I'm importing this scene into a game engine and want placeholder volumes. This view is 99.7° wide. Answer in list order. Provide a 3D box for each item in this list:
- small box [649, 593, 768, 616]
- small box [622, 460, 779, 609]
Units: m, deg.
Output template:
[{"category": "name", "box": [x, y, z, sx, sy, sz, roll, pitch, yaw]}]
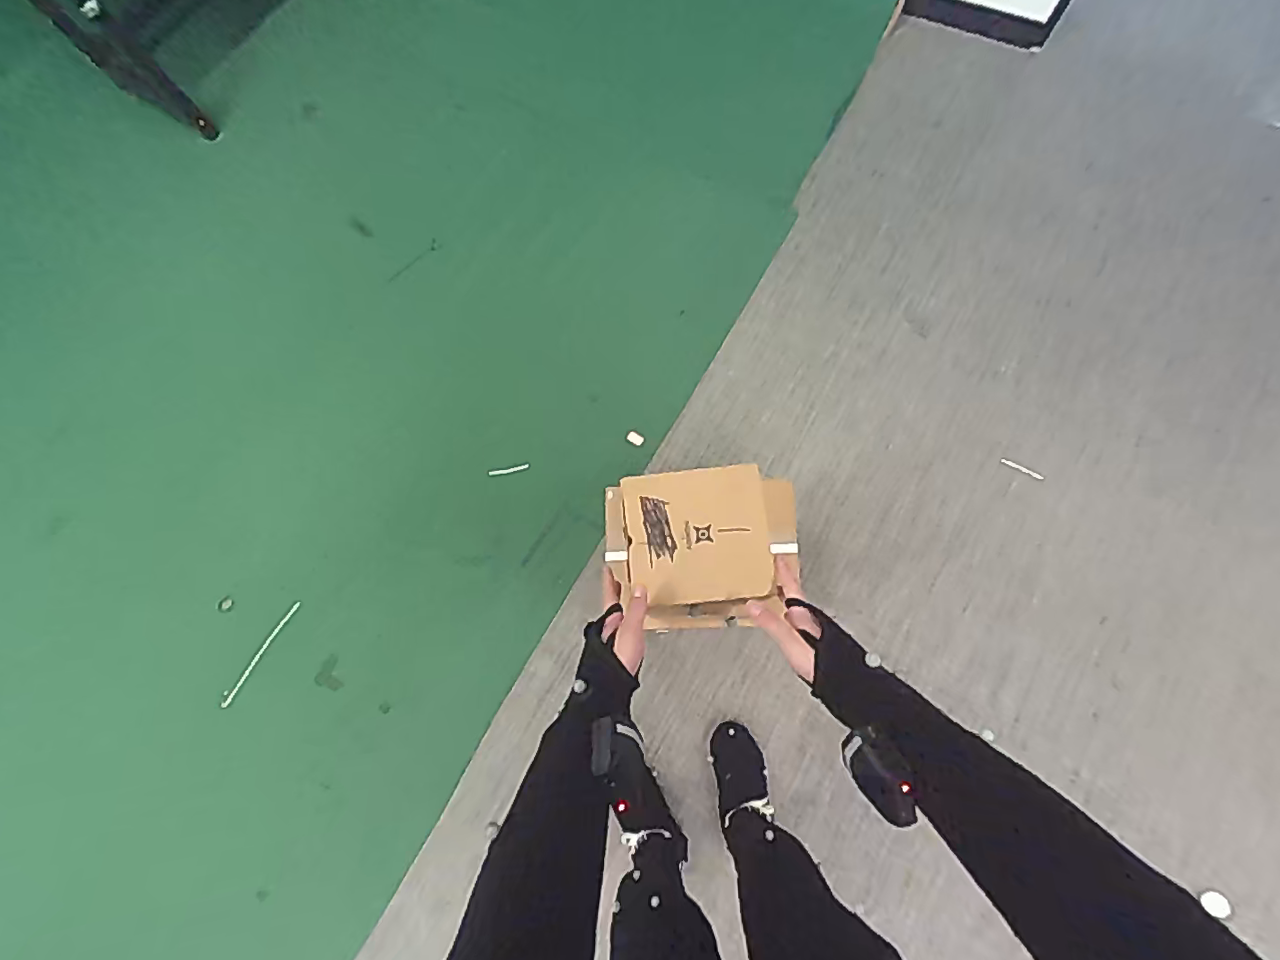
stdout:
[{"category": "small box", "box": [0.105, 0.133, 0.881, 0.179, 0.176, 0.168, 0, 74, 5]}, {"category": "small box", "box": [0.076, 0.082, 0.727, 0.179, 0.176, 0.168, -6, 74, 2]}]
